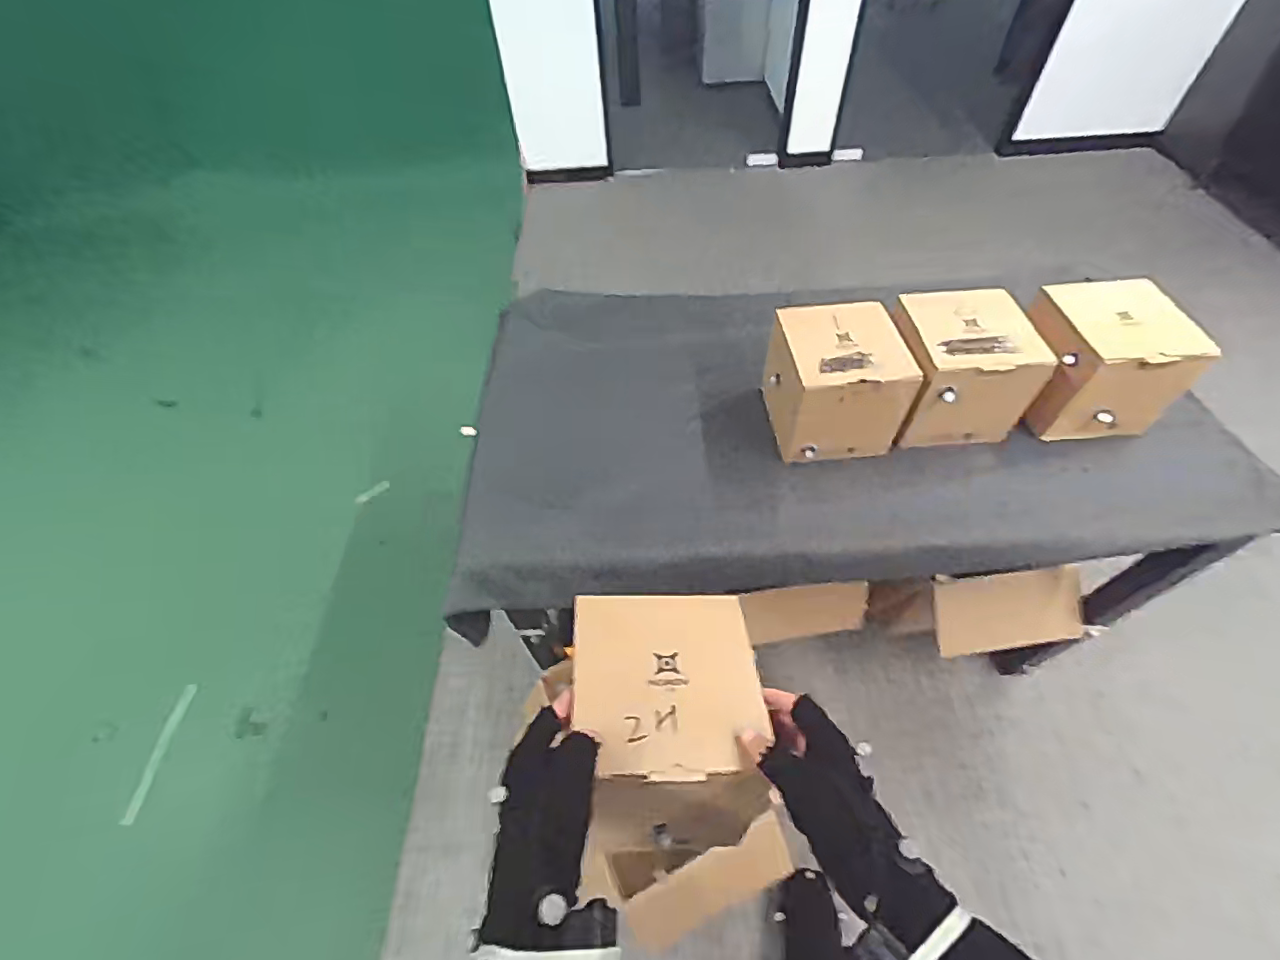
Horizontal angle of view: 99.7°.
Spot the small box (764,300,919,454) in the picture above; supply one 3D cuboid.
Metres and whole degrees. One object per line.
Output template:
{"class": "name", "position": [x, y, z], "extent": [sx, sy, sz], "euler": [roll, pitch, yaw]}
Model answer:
{"class": "small box", "position": [0.301, -0.153, 0.848], "extent": [0.168, 0.176, 0.179], "euler": [-5, 53, 0]}

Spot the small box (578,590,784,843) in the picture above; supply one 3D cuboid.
{"class": "small box", "position": [0.024, 0.230, 0.537], "extent": [0.168, 0.176, 0.179], "euler": [0, 40, -5]}

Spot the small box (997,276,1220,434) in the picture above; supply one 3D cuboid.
{"class": "small box", "position": [0.711, -0.194, 0.851], "extent": [0.168, 0.176, 0.179], "euler": [-5, 54, 1]}
